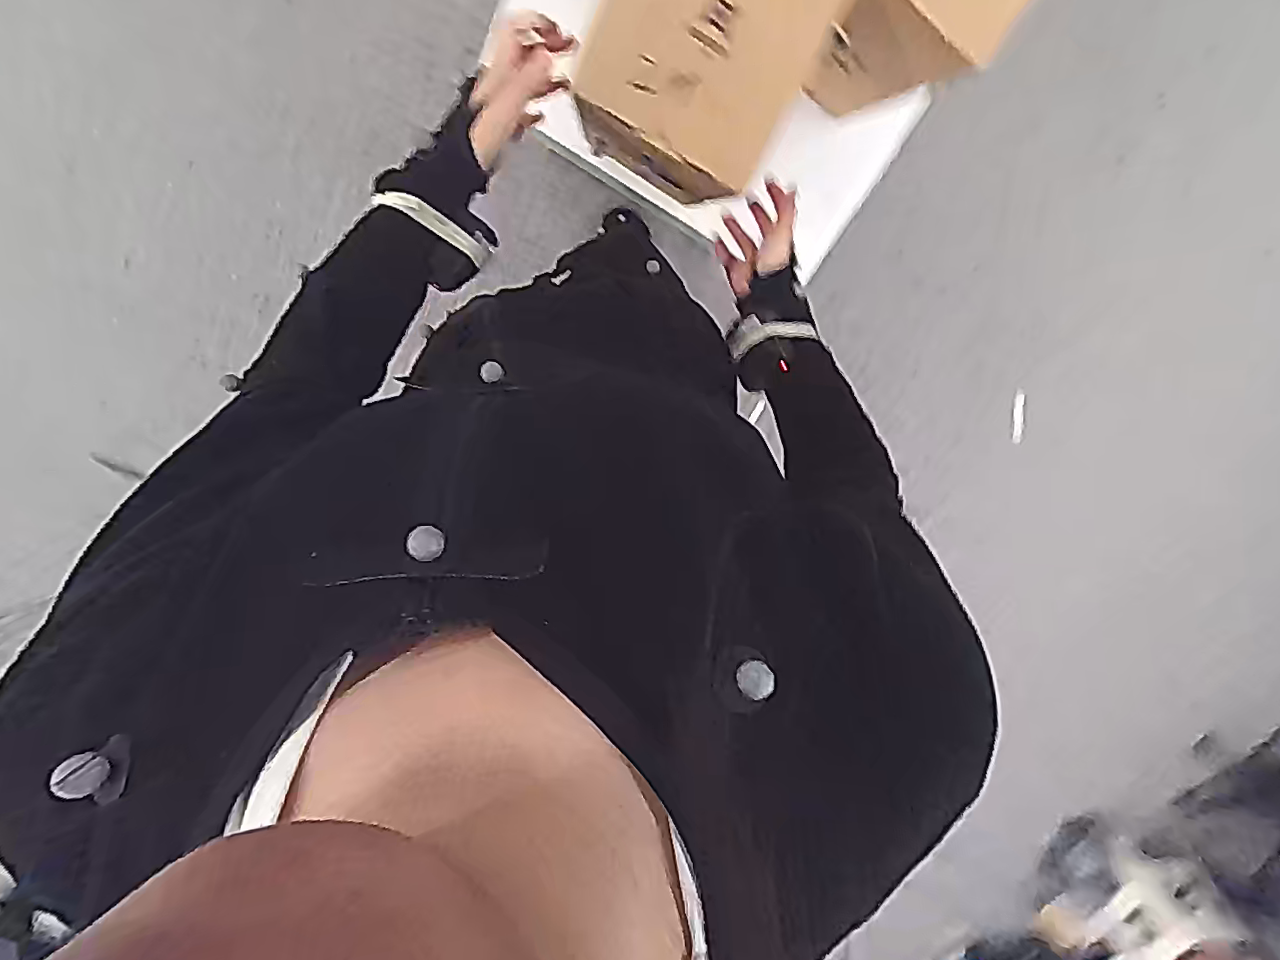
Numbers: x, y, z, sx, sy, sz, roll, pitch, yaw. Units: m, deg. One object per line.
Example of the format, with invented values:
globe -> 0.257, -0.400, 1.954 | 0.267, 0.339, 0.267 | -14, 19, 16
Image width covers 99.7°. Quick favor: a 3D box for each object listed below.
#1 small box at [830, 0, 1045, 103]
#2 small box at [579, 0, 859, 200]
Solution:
small box -> 0.250, -0.458, 0.448 | 0.168, 0.176, 0.179 | 29, 113, -16
small box -> 0.057, -0.376, 0.478 | 0.168, 0.176, 0.179 | 25, 113, -14
